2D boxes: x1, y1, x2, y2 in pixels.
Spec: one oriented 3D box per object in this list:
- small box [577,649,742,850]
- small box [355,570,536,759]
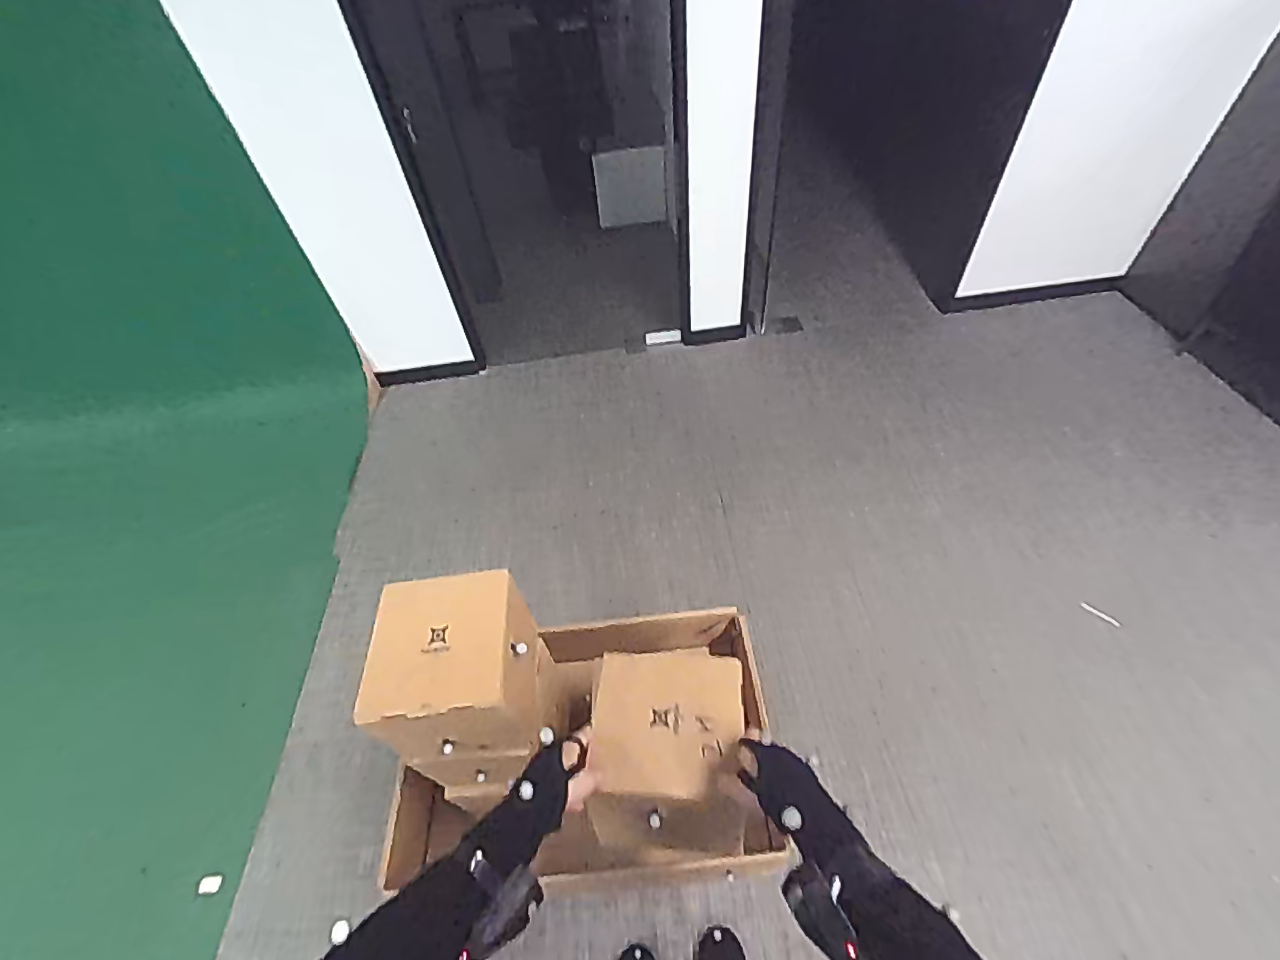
[{"bbox_3d":[0.034,0.331,0.668,0.179,0.176,0.168,1,39,8],"label":"small box"},{"bbox_3d":[-0.236,0.243,0.710,0.168,0.176,0.179,-7,49,0],"label":"small box"}]
